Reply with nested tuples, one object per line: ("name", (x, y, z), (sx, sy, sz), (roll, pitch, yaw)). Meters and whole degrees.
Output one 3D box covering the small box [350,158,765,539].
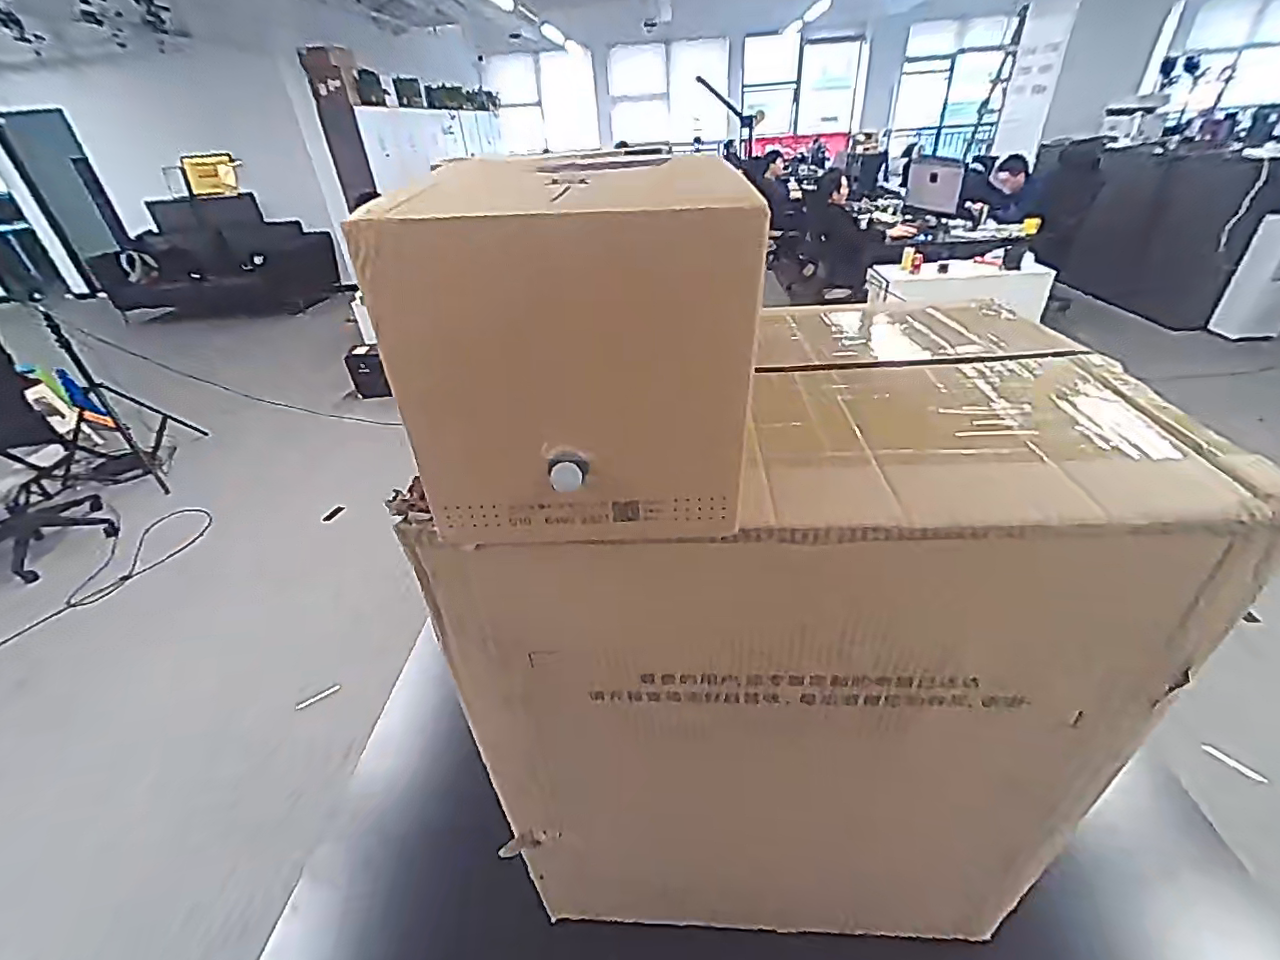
("small box", (-0.031, -0.084, 0.321), (0.168, 0.176, 0.179), (-2, 37, 1))
